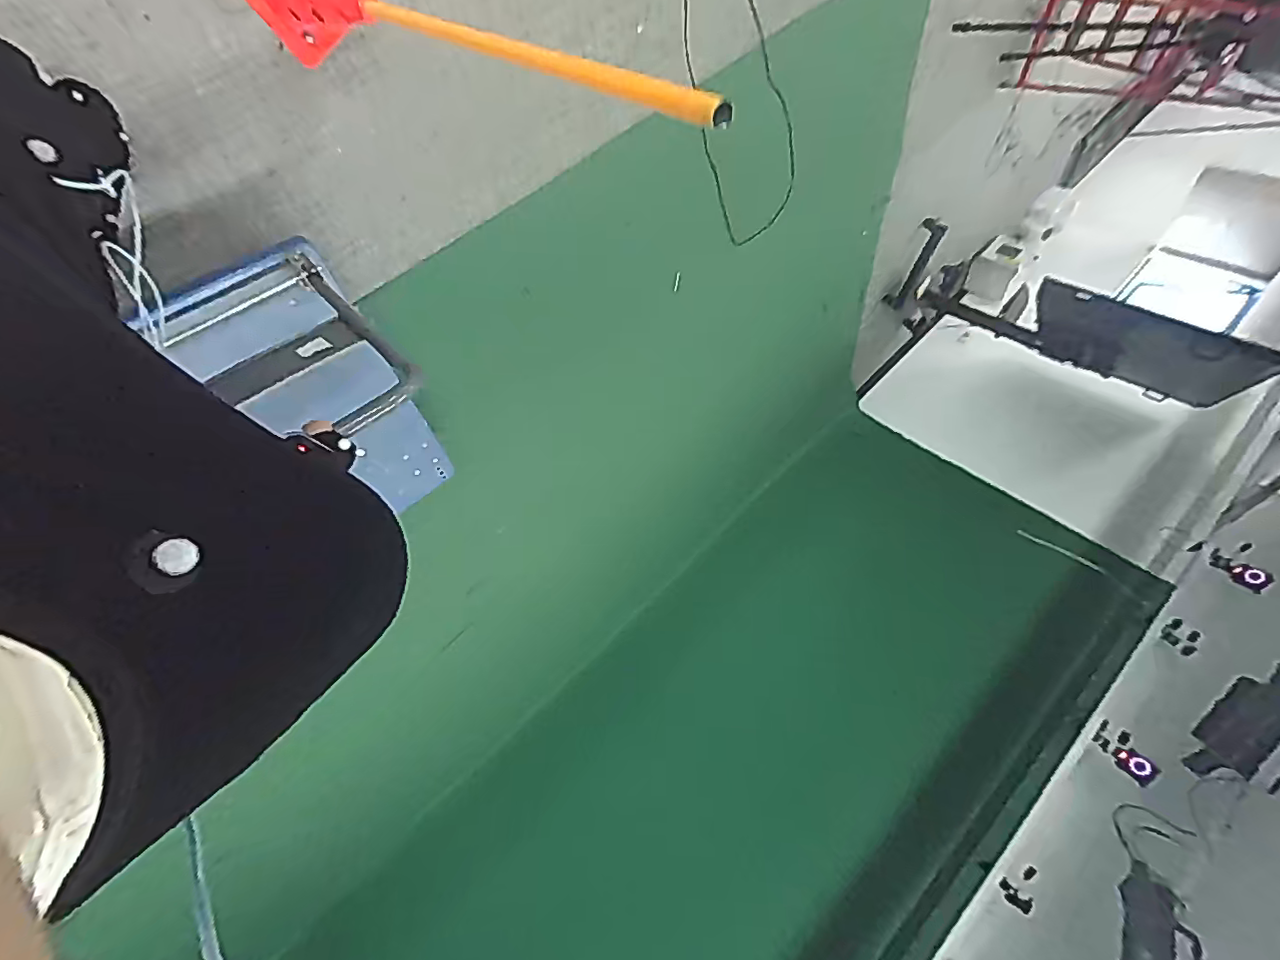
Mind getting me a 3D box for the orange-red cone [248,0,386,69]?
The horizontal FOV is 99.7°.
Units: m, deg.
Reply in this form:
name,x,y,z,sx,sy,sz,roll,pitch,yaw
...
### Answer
name,x,y,z,sx,sy,sz,roll,pitch,yaw
orange-red cone,-0.581,-0.909,1.027,0.199,0.360,0.198,-50,151,-4
